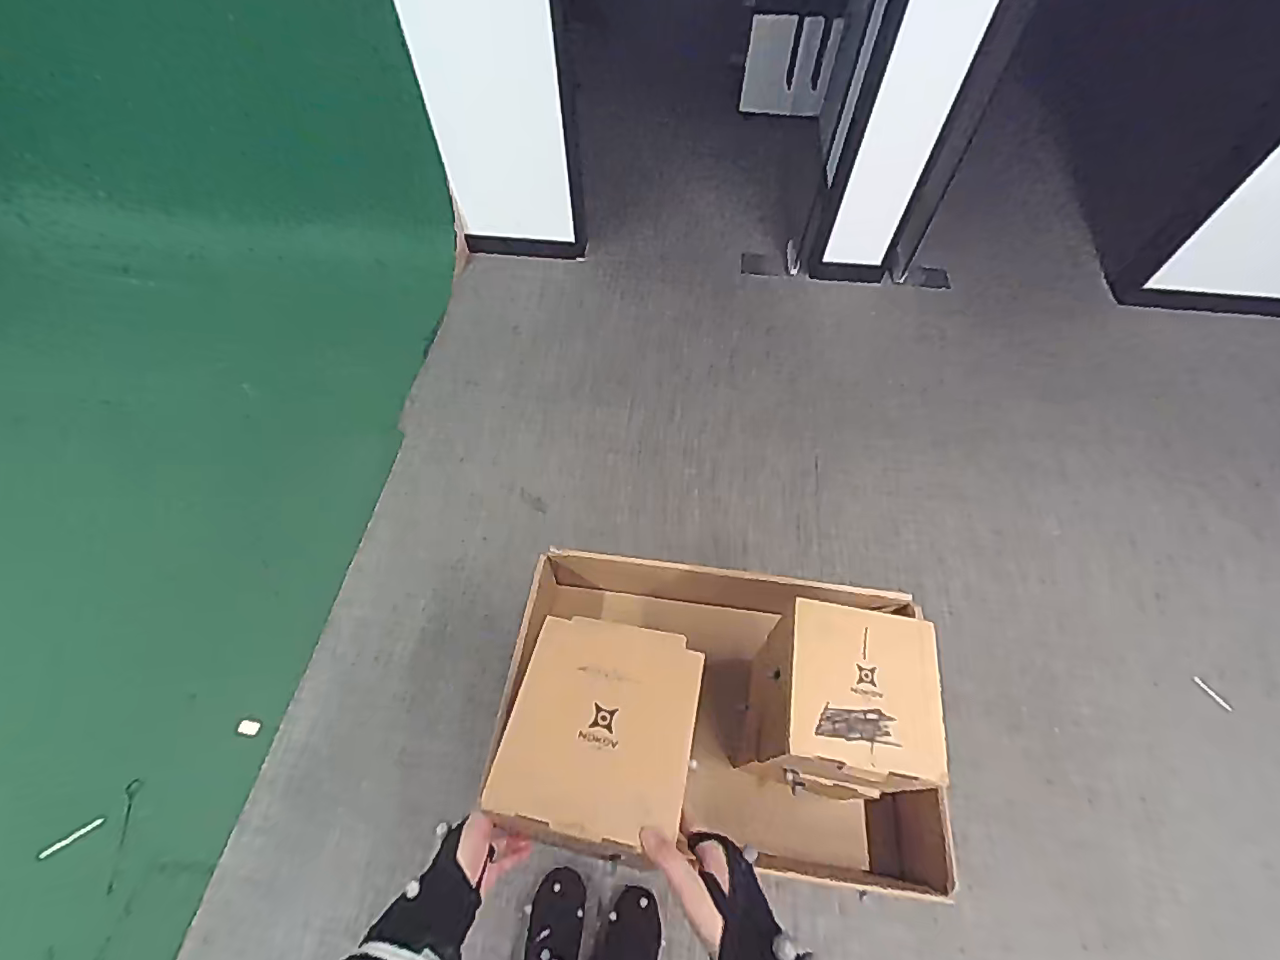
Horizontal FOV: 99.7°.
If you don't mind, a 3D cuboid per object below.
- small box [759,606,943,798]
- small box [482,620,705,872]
[{"bbox_3d":[0.248,0.281,0.673,0.168,0.176,0.179,10,58,5],"label":"small box"},{"bbox_3d":[-0.040,0.276,0.553,0.168,0.176,0.179,14,50,4],"label":"small box"}]
